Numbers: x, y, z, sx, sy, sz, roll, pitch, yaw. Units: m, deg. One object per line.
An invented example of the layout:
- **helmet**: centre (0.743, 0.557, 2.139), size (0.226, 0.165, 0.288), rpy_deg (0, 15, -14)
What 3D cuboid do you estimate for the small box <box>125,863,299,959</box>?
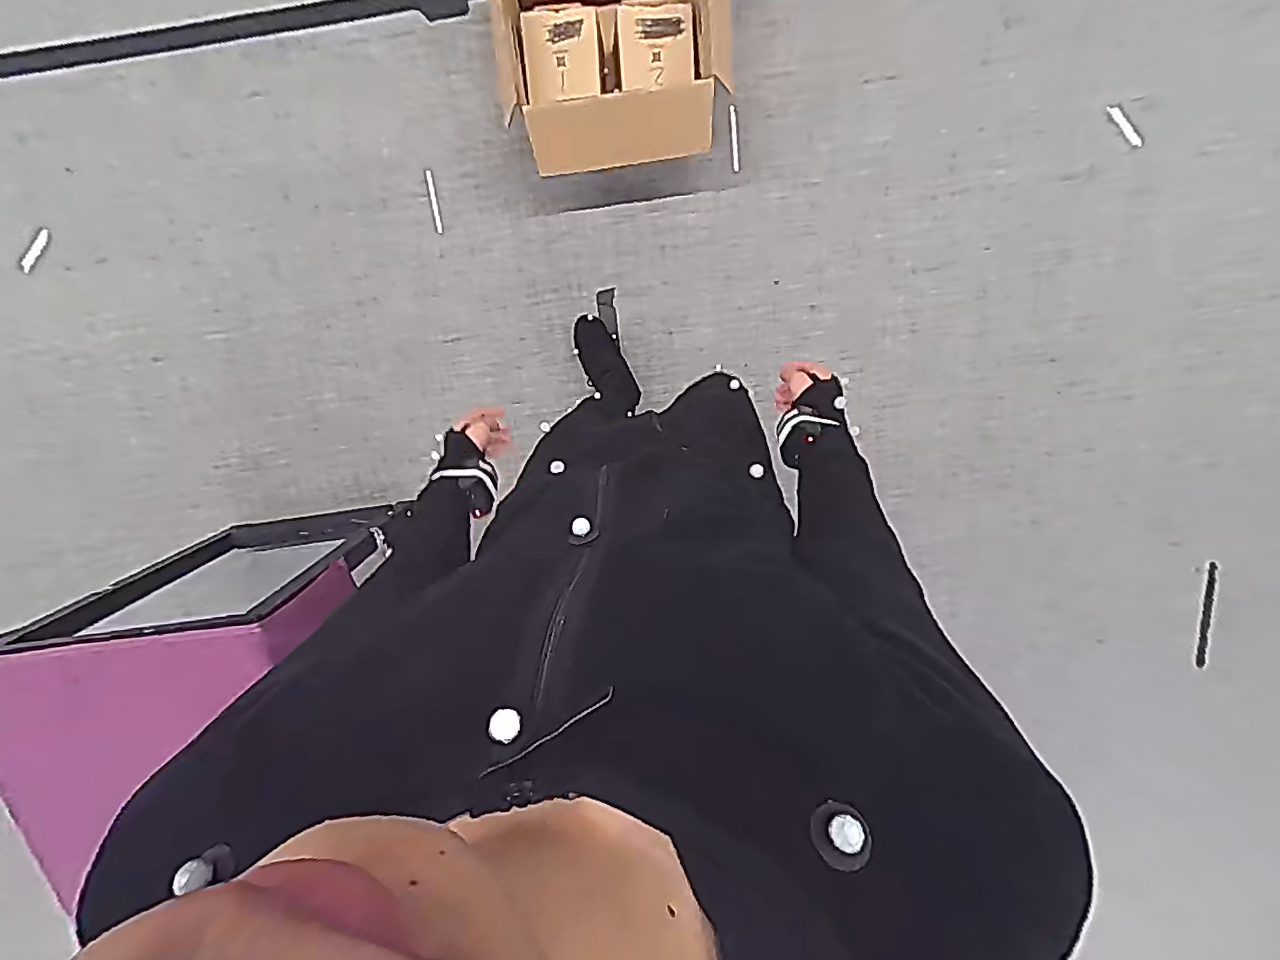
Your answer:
- **small box**: centre (-0.807, 0.882, 1.032), size (0.179, 0.176, 0.168), rpy_deg (-17, 106, 4)
